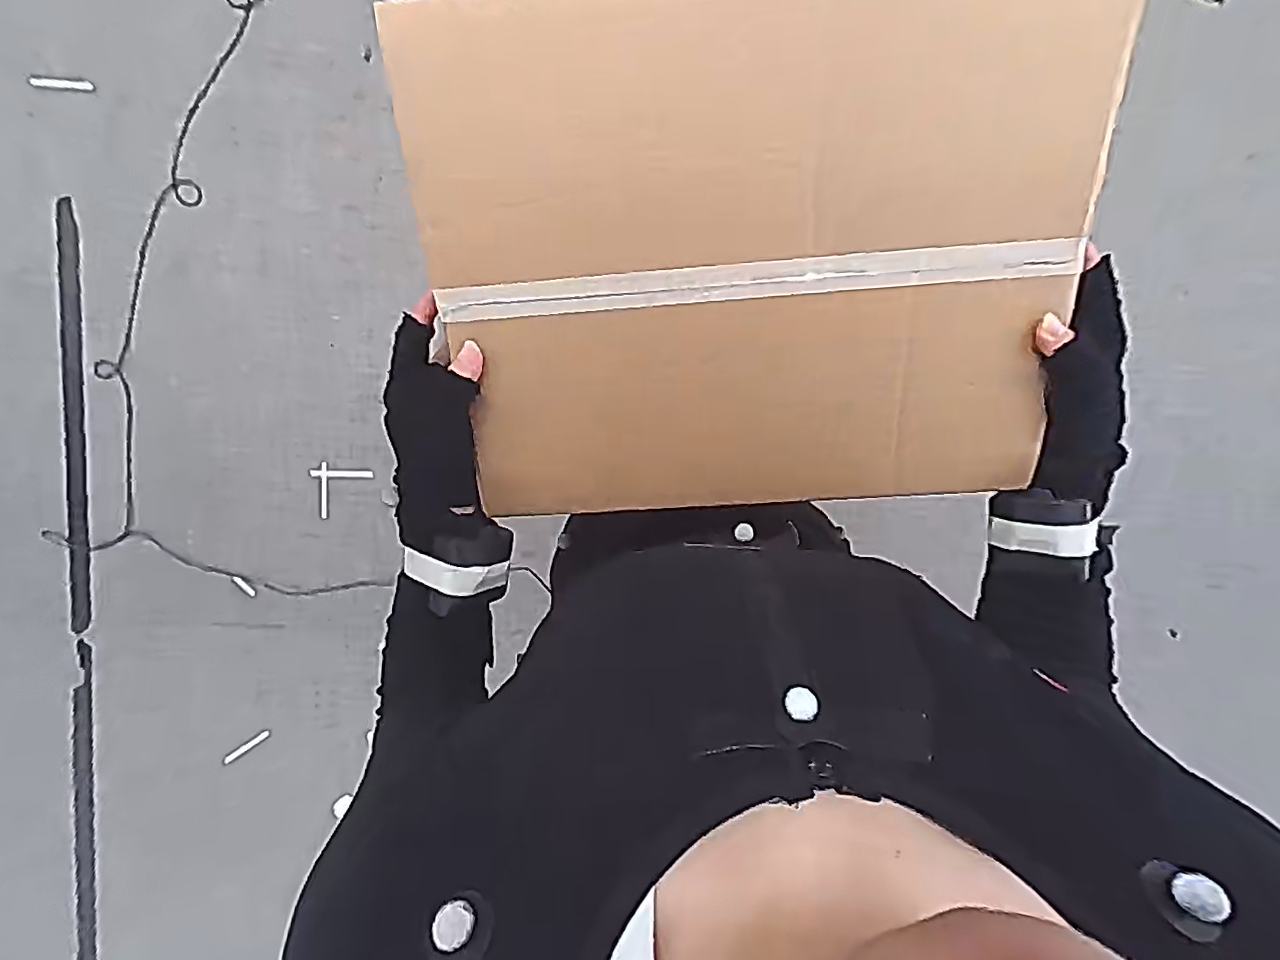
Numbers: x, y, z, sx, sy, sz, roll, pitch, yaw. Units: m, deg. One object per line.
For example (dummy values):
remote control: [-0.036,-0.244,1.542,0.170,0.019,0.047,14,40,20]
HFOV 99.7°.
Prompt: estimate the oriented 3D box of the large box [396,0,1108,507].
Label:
large box: [0.069,-0.191,0.492,0.408,0.320,0.320,-3,115,2]
